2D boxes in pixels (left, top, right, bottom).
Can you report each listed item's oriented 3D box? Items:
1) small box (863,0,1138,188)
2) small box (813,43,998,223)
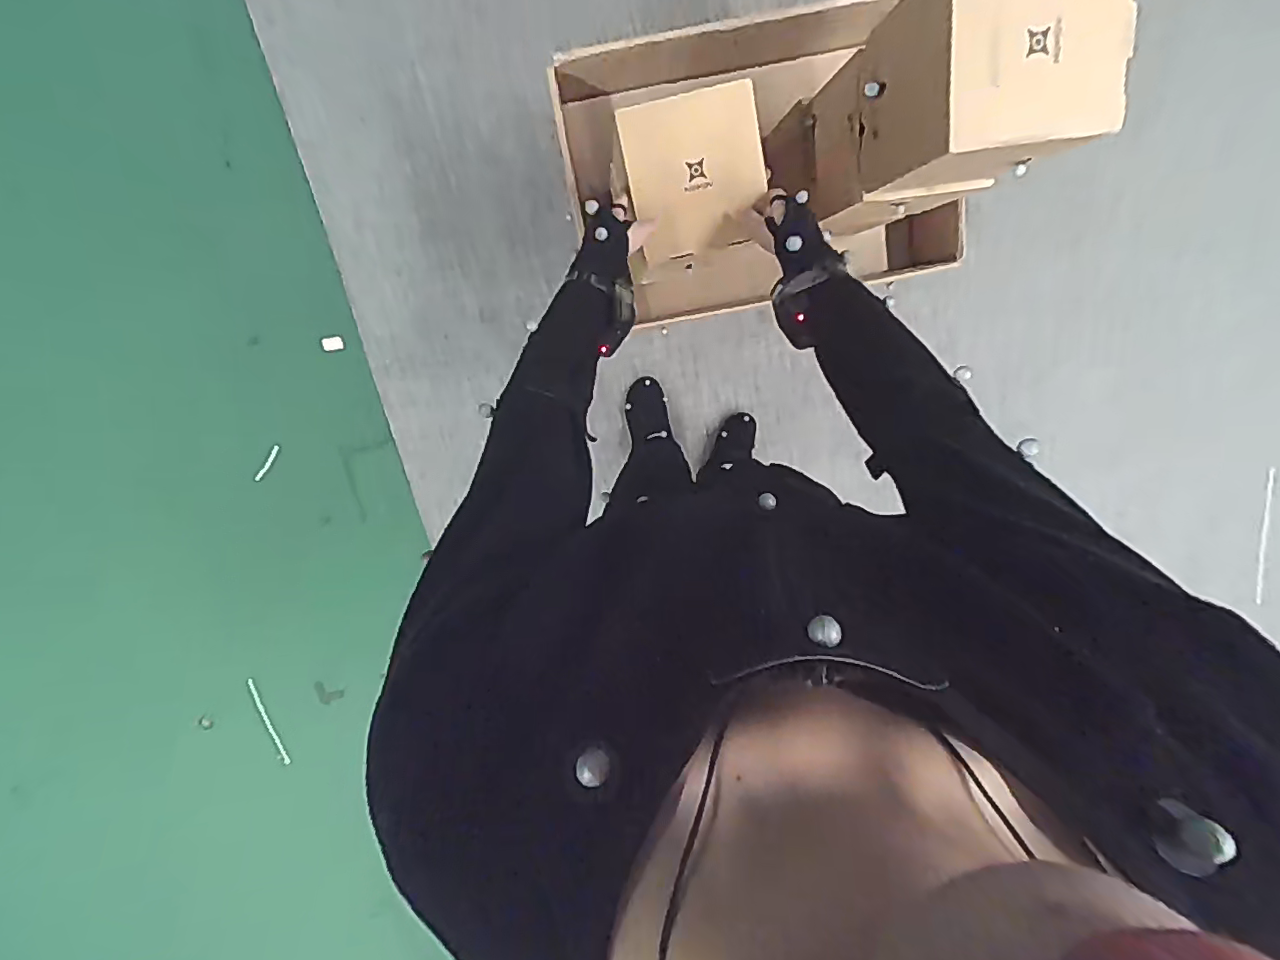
[{"bbox_3d":[0.354,-0.419,0.558,0.179,0.176,0.168,-8,105,-2],"label":"small box"},{"bbox_3d":[0.339,-0.452,0.718,0.179,0.176,0.168,-8,106,-2],"label":"small box"}]
